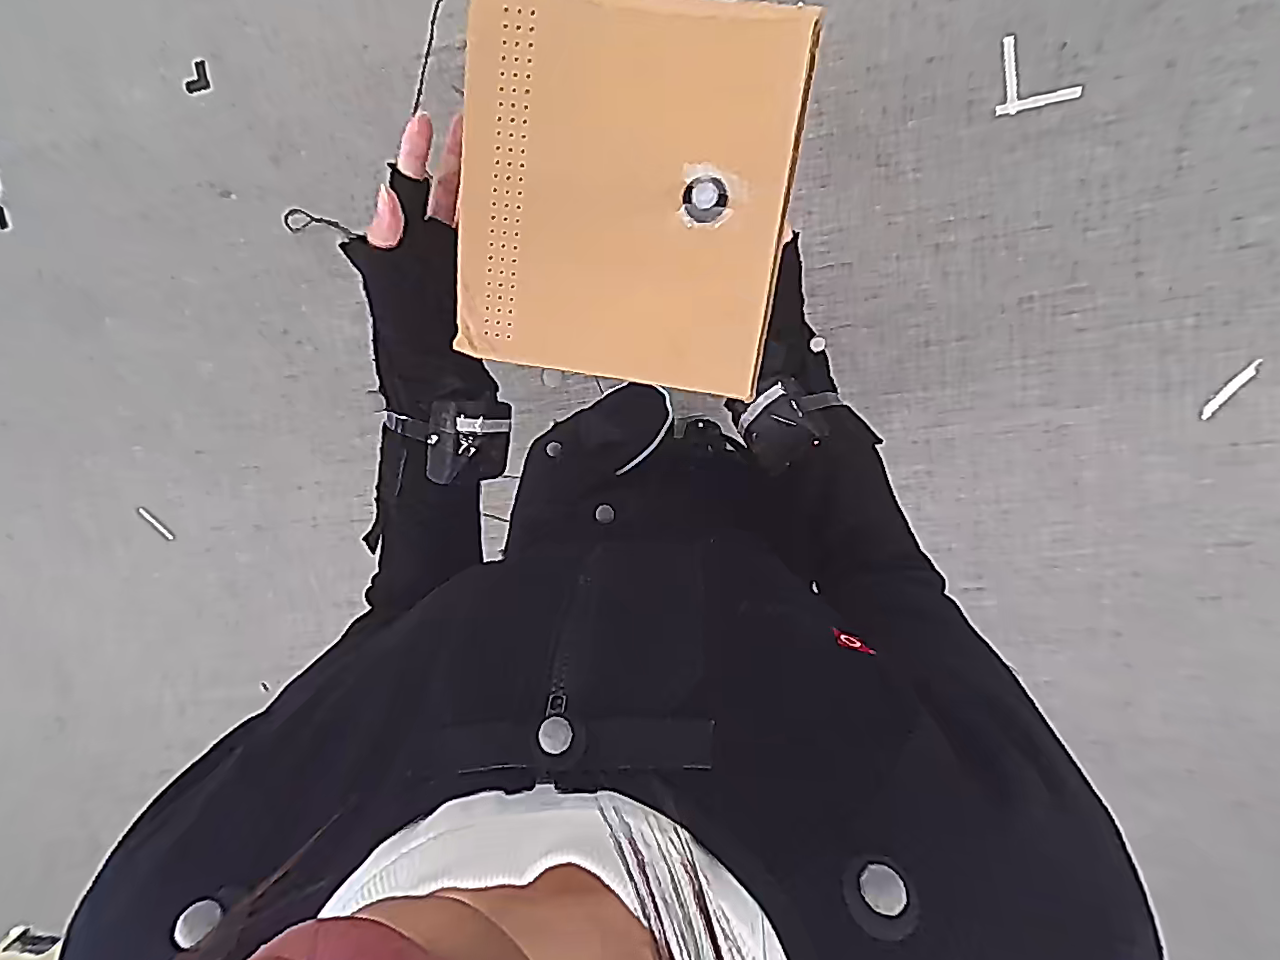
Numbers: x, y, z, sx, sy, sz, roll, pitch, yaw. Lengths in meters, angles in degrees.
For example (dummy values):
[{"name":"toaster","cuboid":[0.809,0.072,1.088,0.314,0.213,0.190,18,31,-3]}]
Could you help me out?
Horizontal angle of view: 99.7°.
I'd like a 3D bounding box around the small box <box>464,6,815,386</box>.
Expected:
[{"name":"small box","cuboid":[-0.002,-0.164,0.355,0.176,0.168,0.179,10,104,5]}]
